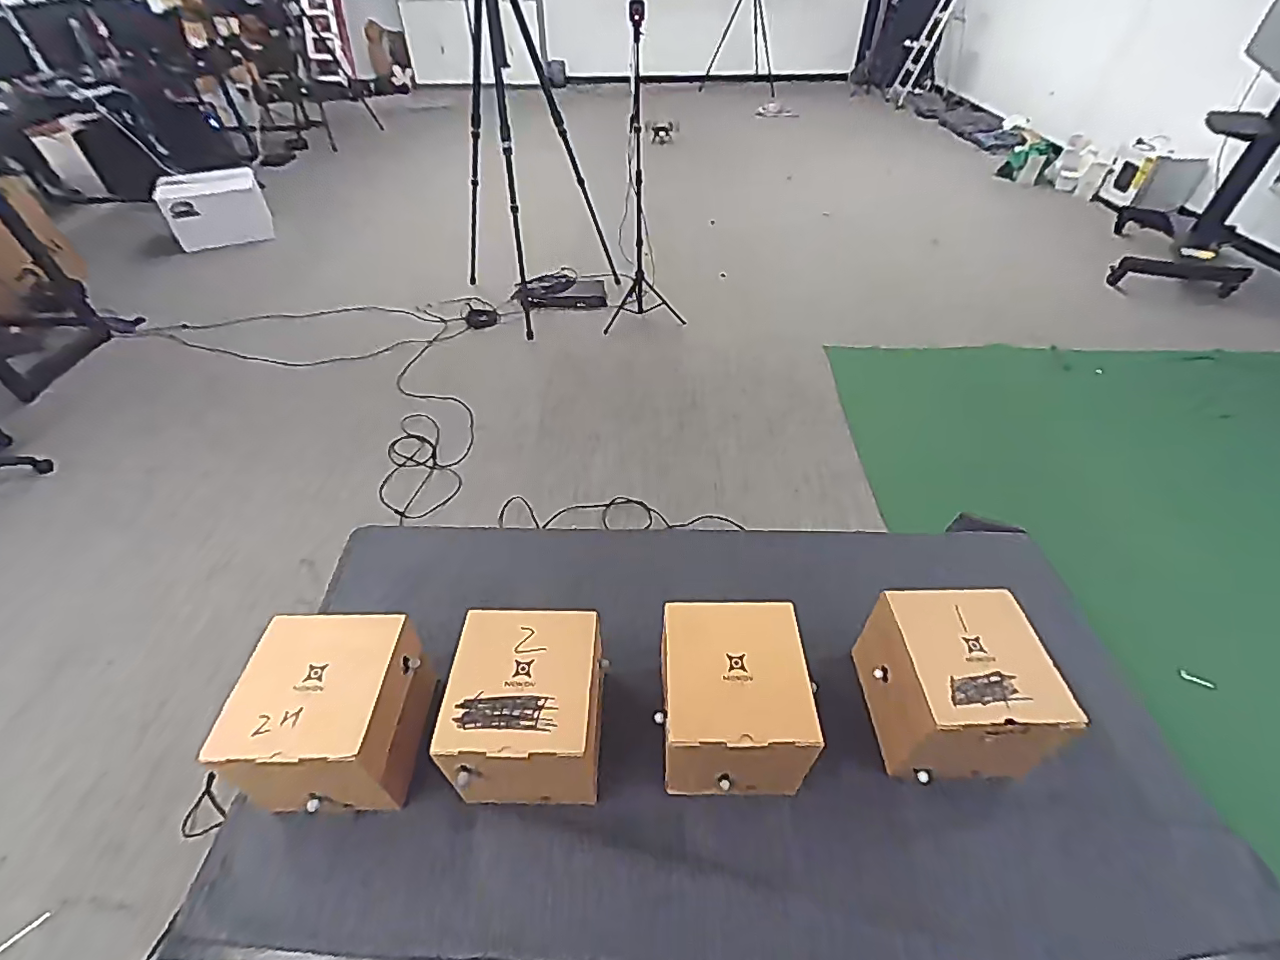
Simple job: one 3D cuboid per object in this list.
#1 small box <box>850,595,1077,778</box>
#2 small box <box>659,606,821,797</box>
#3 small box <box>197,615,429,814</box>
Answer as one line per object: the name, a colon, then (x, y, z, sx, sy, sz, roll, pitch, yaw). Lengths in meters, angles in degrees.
small box: (0.393, 0.268, 0.698, 0.168, 0.176, 0.179, 0, 44, 0)
small box: (0.111, 0.281, 0.689, 0.168, 0.176, 0.179, 0, 45, -1)
small box: (-0.377, 0.288, 0.669, 0.168, 0.176, 0.179, 0, 43, -1)
